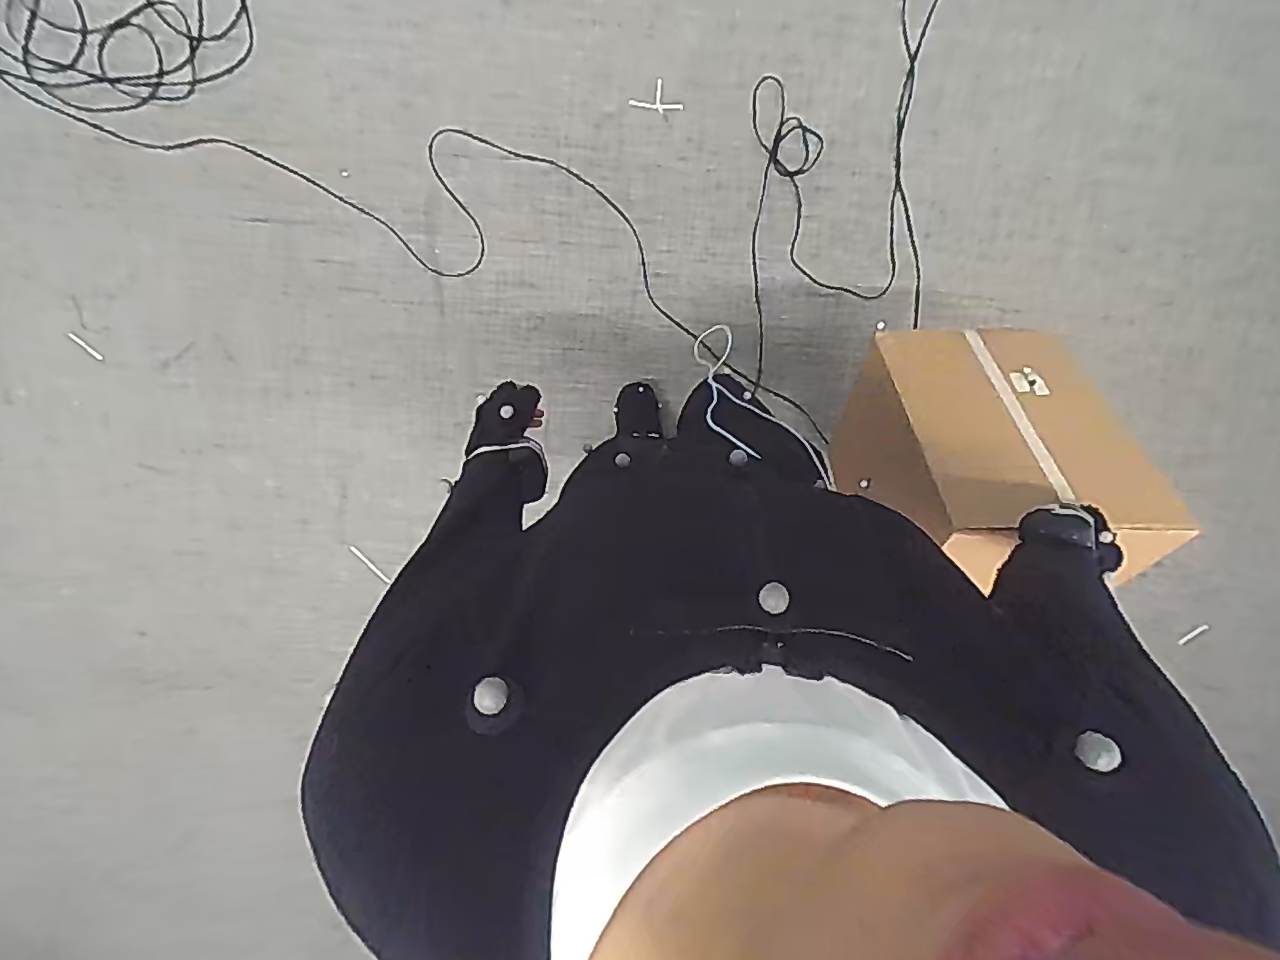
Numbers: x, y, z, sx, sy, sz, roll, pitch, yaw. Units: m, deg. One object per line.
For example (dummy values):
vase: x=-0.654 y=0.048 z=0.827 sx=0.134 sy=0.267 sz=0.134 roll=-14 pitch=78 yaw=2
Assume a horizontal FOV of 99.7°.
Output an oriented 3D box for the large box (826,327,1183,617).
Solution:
large box: x=0.548 y=-0.011 z=0.930 sx=0.320 sy=0.408 sz=0.320 roll=1 pitch=142 yaw=0
